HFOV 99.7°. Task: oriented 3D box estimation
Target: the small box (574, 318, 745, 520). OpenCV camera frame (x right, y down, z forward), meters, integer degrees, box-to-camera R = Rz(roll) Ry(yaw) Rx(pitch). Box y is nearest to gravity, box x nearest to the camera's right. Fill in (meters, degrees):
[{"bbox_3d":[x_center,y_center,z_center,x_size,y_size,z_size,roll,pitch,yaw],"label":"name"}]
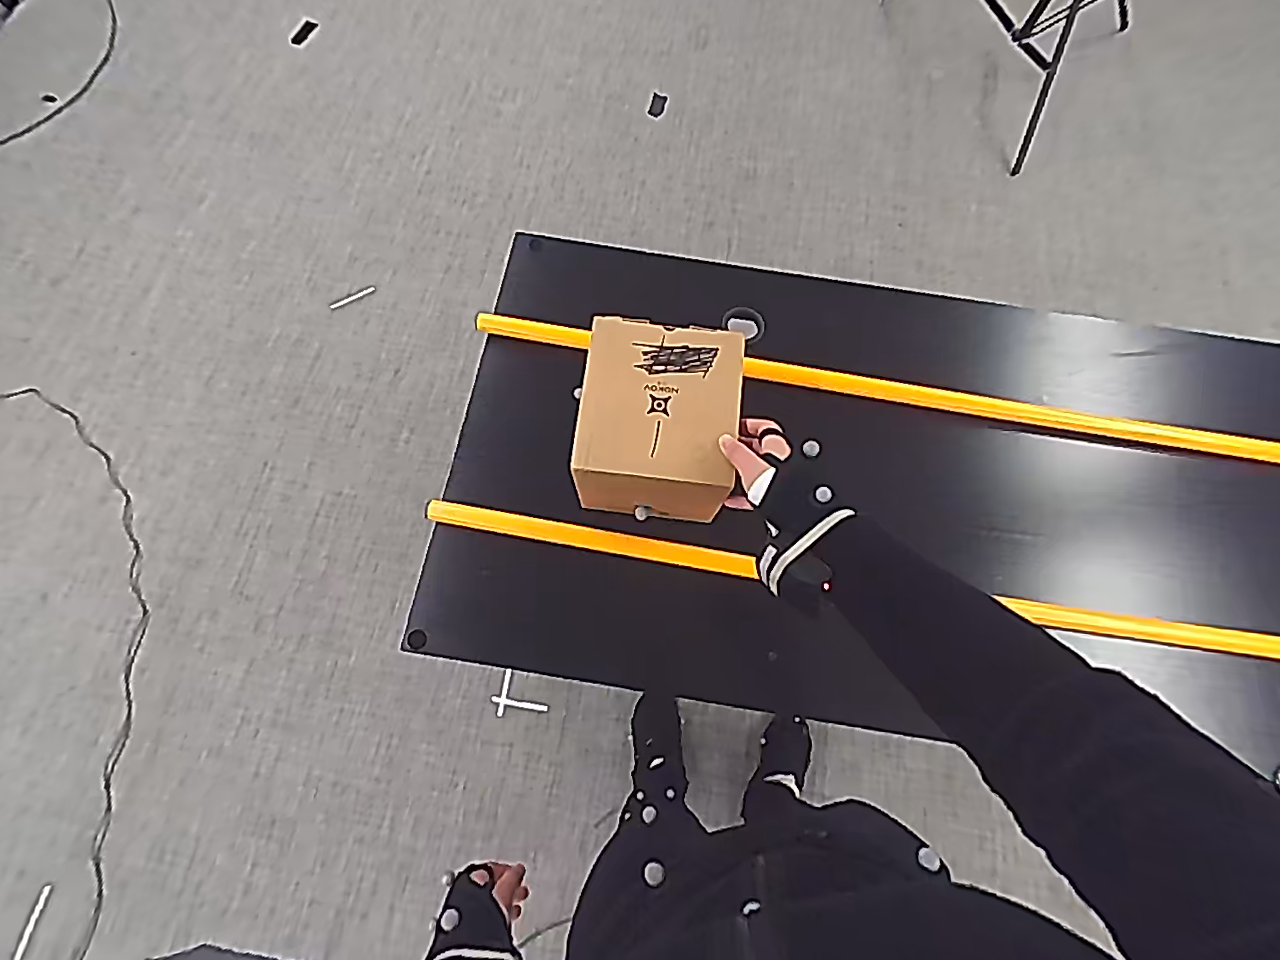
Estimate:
[{"bbox_3d":[0.022,-0.062,0.640,0.168,0.176,0.179,7,74,1],"label":"small box"}]
